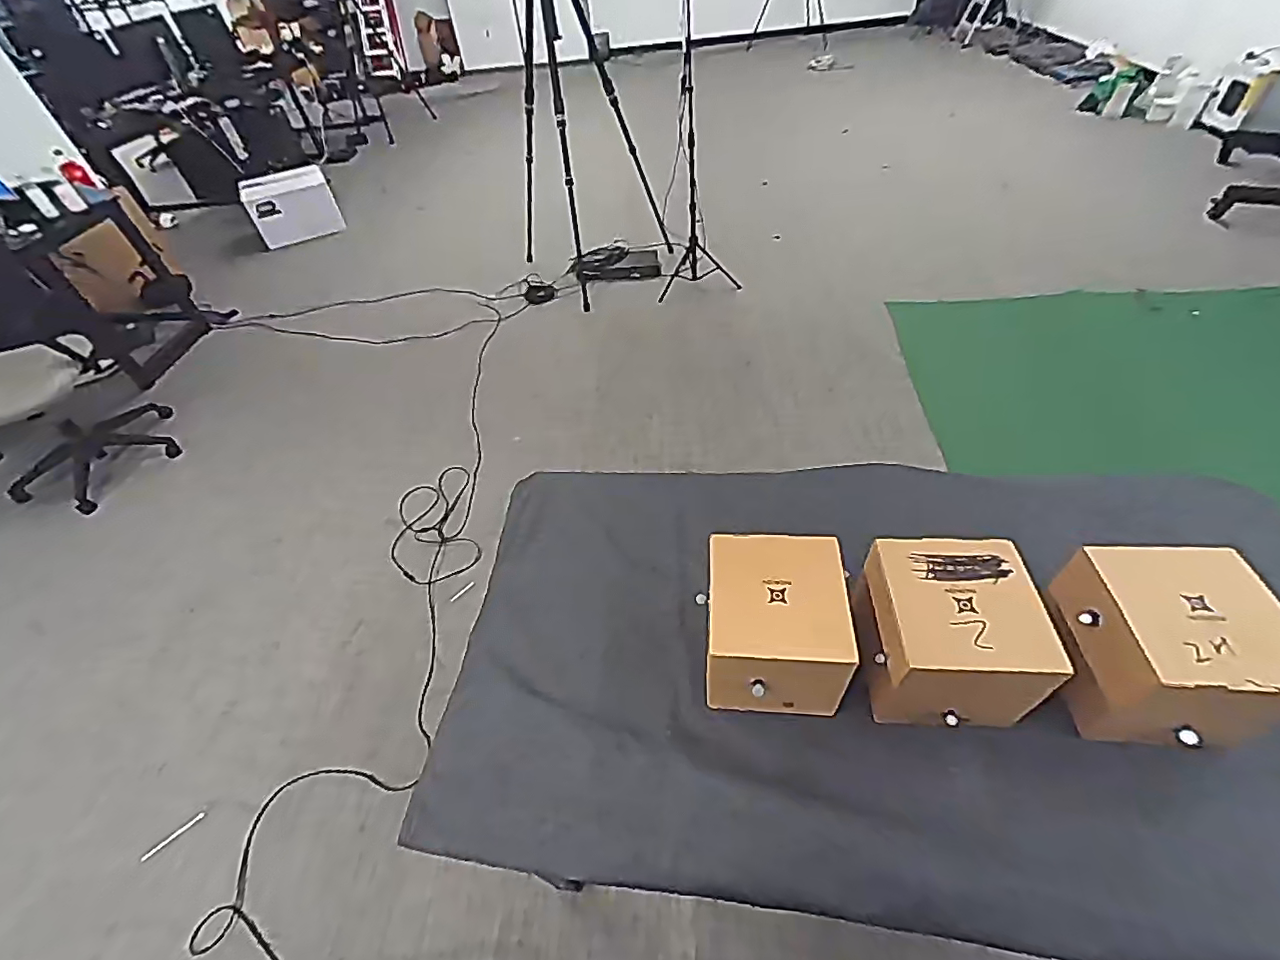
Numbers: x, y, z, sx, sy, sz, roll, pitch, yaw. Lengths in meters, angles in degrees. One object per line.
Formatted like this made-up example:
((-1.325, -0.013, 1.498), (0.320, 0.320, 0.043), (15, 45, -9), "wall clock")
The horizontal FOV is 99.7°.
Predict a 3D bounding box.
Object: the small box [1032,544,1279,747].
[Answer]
((0.620, 0.197, 0.652), (0.168, 0.176, 0.179), (-1, 47, 8), "small box")
